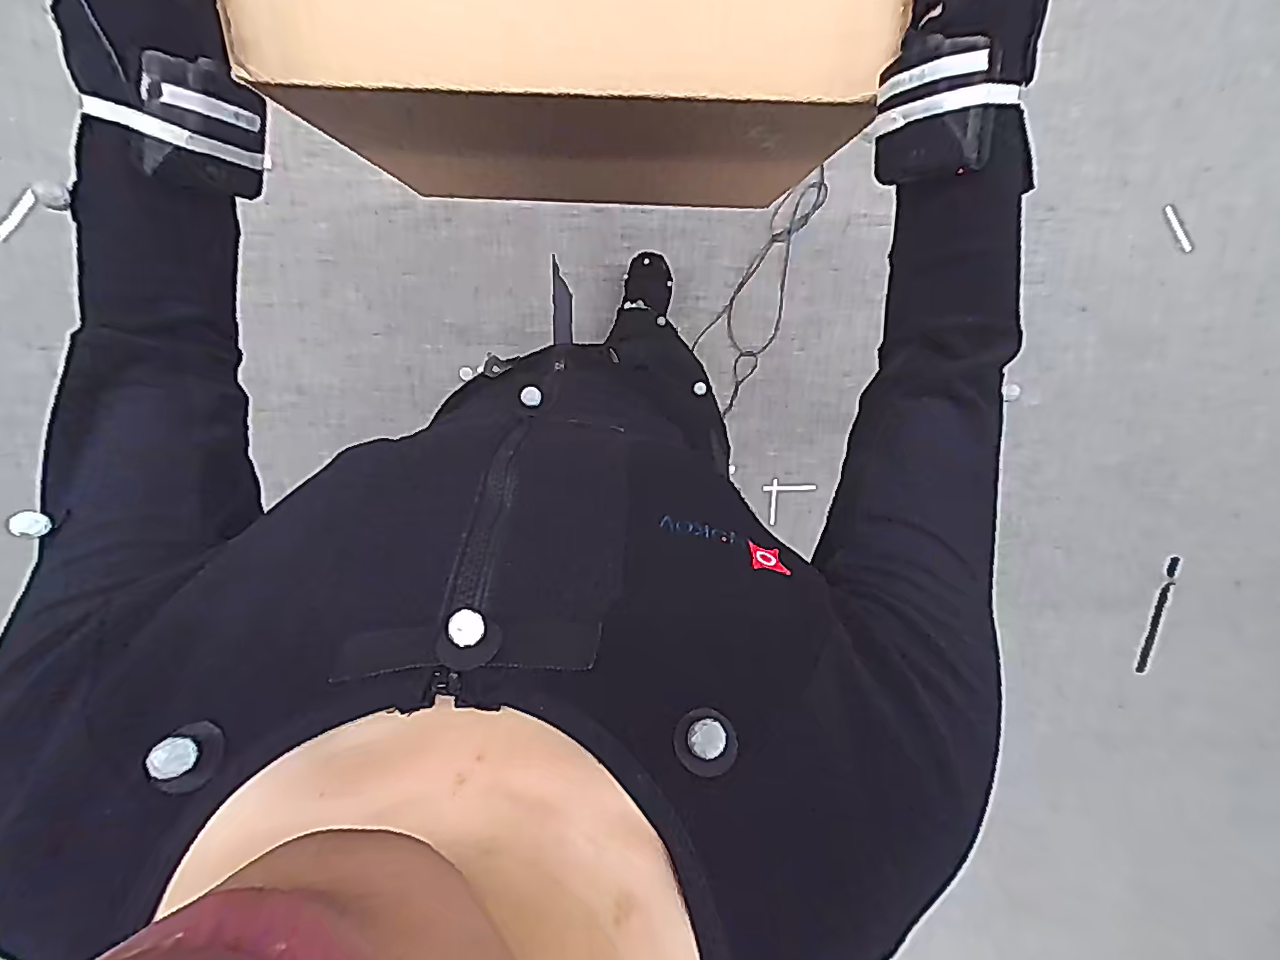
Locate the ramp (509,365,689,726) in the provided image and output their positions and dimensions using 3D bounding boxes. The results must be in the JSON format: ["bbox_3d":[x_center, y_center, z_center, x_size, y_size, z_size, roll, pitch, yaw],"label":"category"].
[{"bbox_3d":[-0.110,0.190,1.486,0.509,0.206,0.991,-1,104,0],"label":"ramp"}]

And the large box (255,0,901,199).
[{"bbox_3d":[-0.041,-0.437,0.447,0.408,0.320,0.320,0,106,-2],"label":"large box"}]
